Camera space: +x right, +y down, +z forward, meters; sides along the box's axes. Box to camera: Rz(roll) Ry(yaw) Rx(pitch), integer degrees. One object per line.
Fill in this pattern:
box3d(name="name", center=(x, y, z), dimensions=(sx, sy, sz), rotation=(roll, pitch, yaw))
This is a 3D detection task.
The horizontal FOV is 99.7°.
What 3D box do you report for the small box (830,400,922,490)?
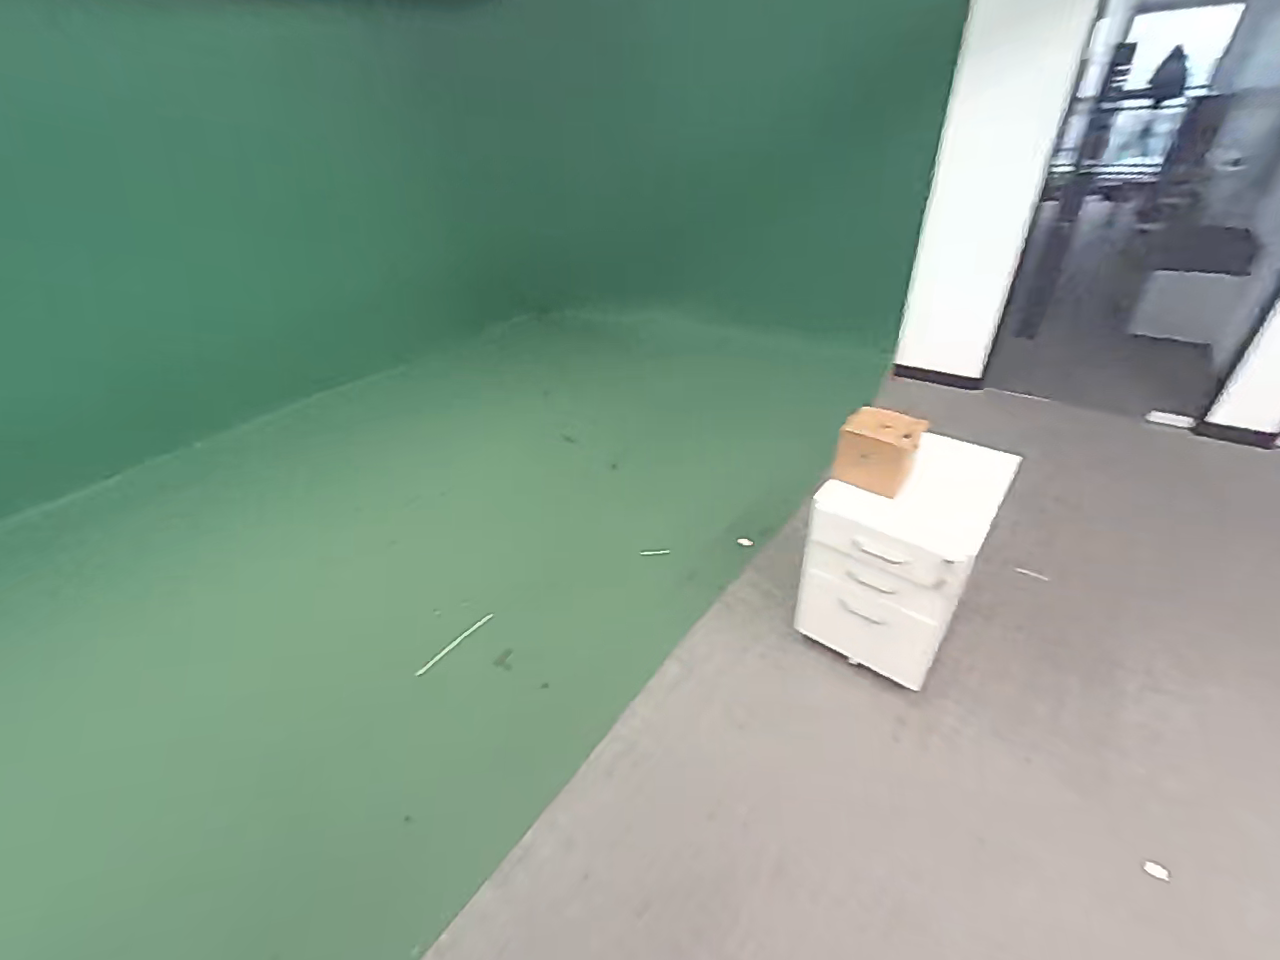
box3d(name="small box", center=(0.645, -0.095, 1.493), dimensions=(0.179, 0.176, 0.168), rotation=(23, 45, 32))
